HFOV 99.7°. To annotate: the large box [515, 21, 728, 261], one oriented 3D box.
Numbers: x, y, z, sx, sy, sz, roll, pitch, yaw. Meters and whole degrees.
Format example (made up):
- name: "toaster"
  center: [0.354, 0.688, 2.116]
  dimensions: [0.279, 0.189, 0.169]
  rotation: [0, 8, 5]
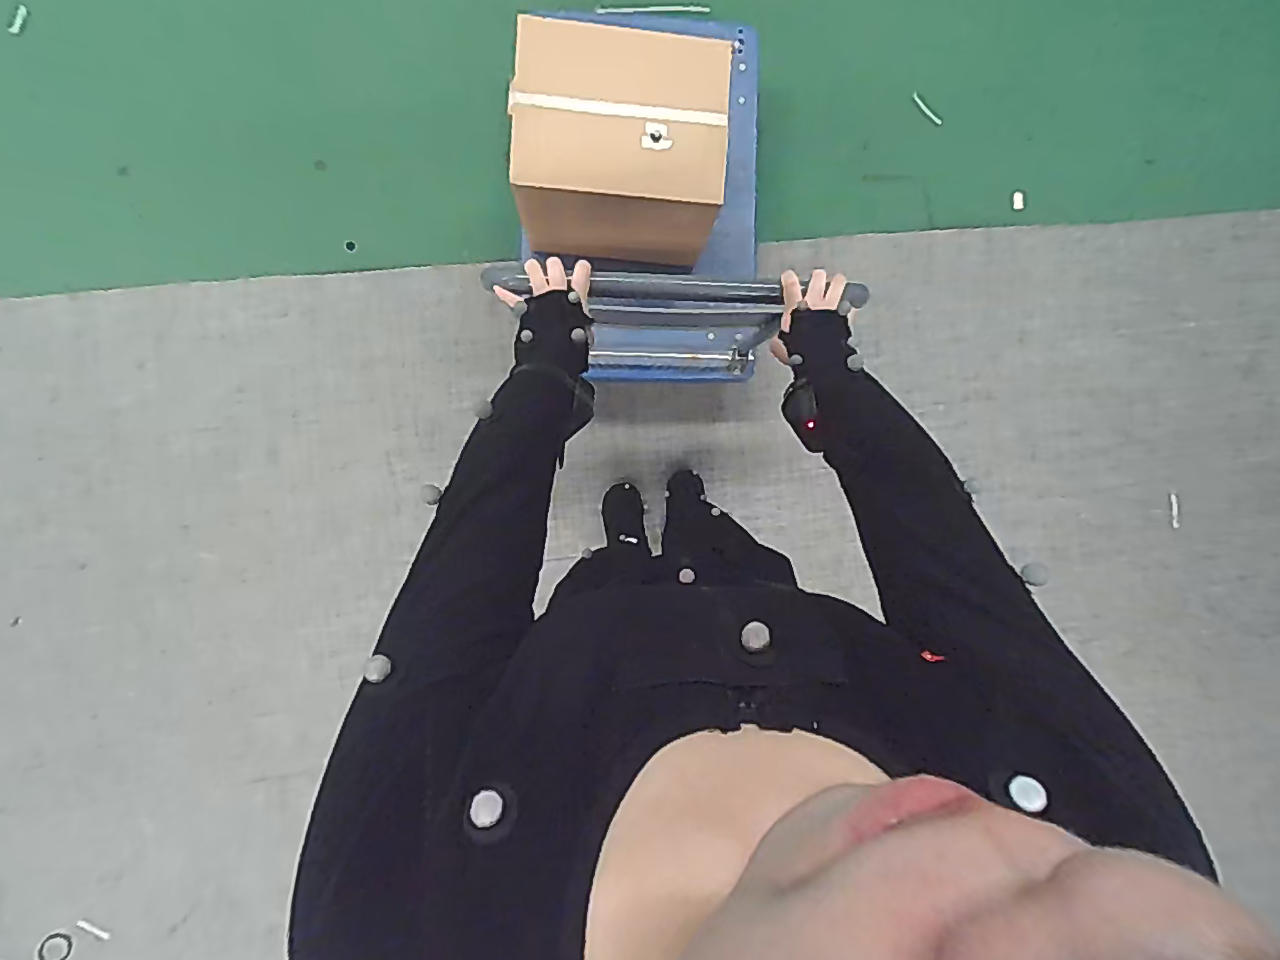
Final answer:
- name: "large box"
  center: [-0.047, -0.700, 1.176]
  dimensions: [0.408, 0.320, 0.320]
  rotation: [3, 91, -5]
